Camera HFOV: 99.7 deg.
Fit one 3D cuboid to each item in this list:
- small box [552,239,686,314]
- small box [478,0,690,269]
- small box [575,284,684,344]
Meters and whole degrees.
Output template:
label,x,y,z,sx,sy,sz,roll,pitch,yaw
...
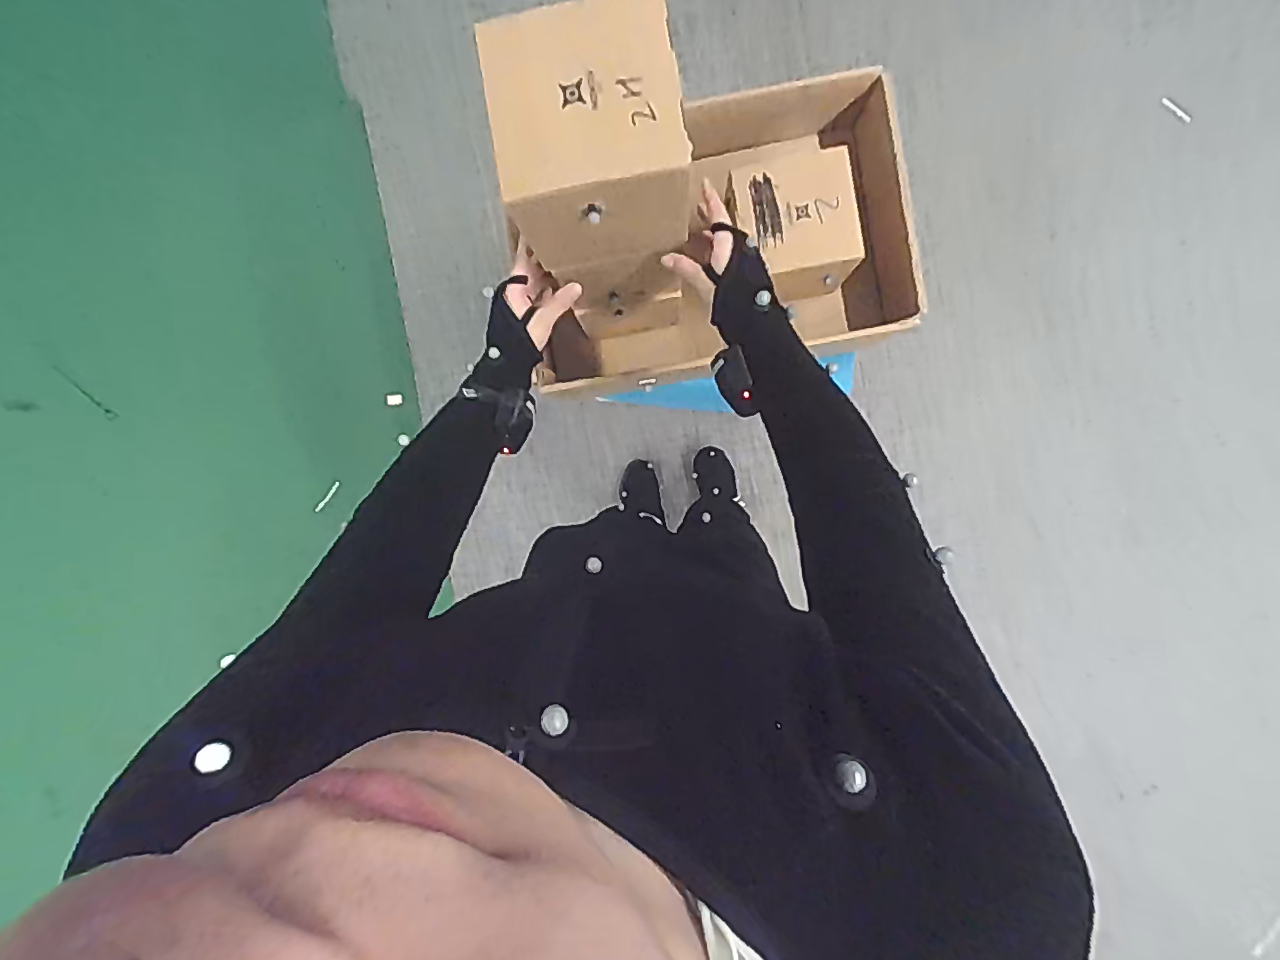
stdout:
label,x,y,z,sx,sy,sz,roll,pitch,yaw
small box,-0.036,-0.345,0.727,0.168,0.176,0.179,-10,90,3
small box,-0.045,-0.339,0.563,0.179,0.176,0.168,-9,90,4
small box,-0.024,-0.341,0.889,0.168,0.176,0.179,-9,89,3
